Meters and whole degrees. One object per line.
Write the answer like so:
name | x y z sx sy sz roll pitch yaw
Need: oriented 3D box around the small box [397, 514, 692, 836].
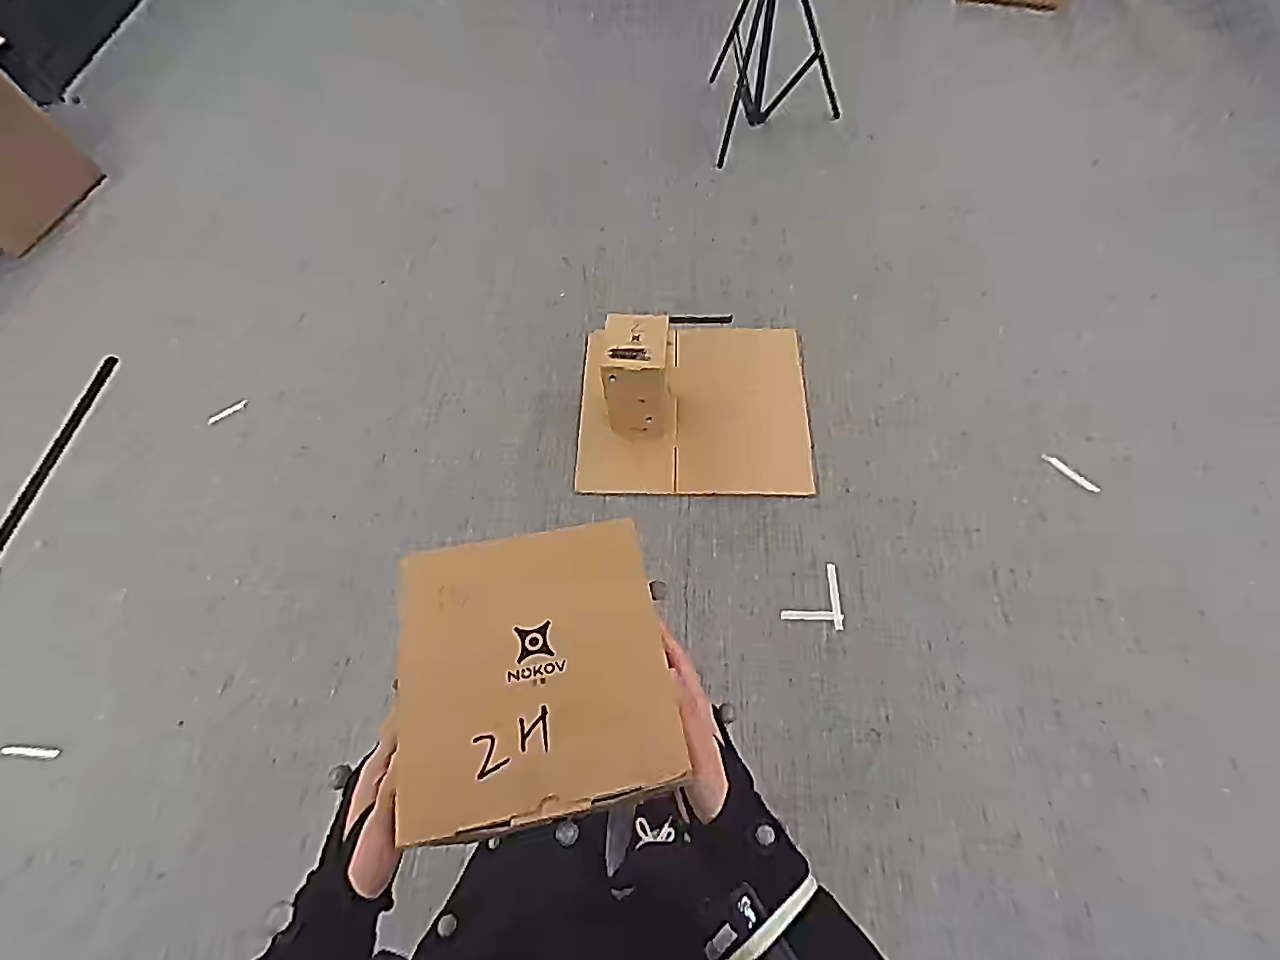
small box | -0.070 0.151 0.409 0.168 0.176 0.179 -9 58 -8

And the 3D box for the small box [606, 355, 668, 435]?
small box | -0.003 -0.250 1.616 0.168 0.176 0.179 5 64 4
